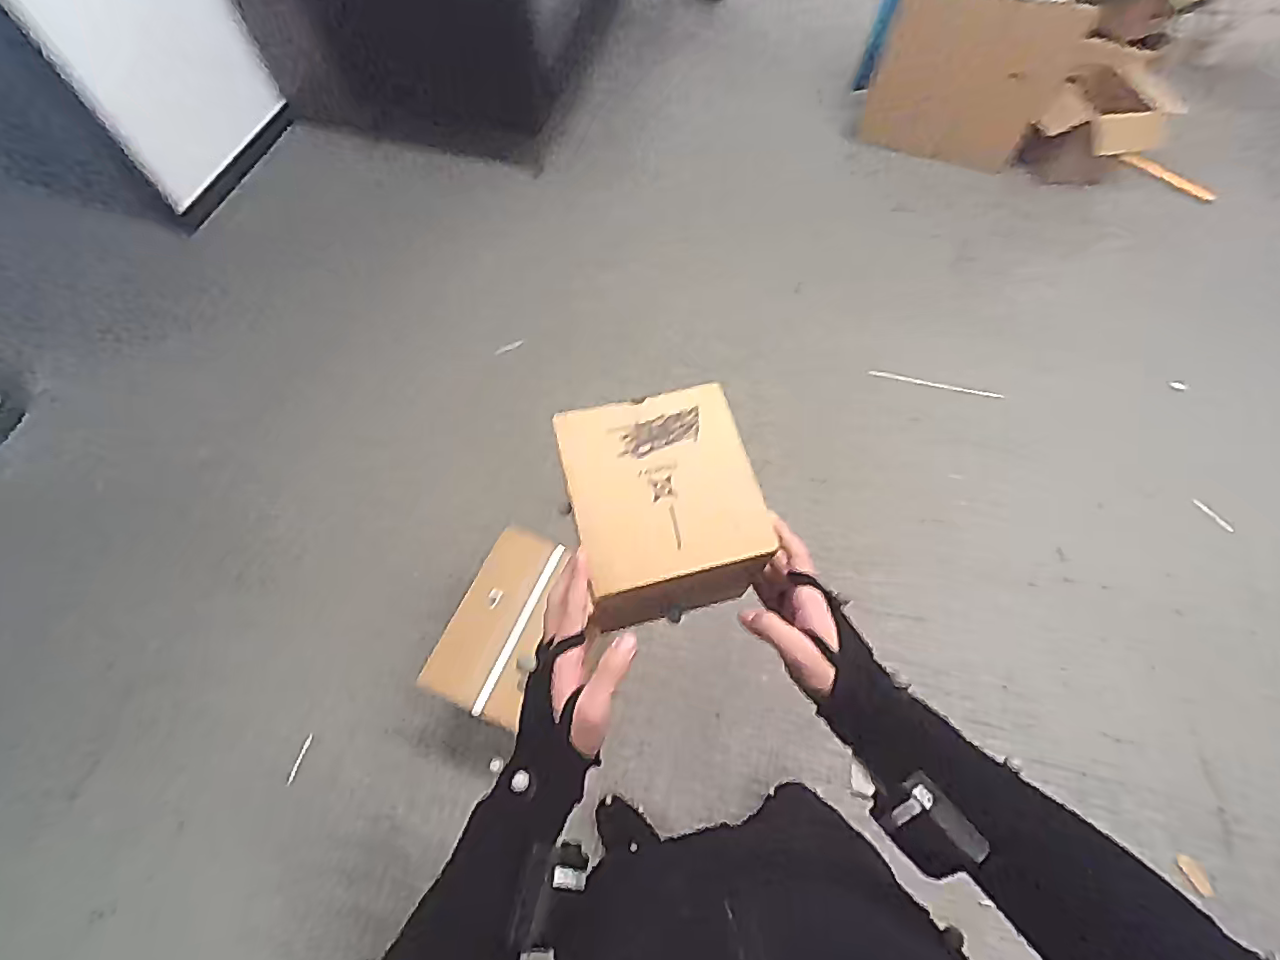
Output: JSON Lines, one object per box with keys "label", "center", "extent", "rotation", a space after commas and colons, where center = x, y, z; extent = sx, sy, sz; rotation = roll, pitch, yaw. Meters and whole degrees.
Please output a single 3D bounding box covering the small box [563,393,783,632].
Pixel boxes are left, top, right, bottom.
{"label": "small box", "center": [0.020, 0.040, 0.557], "extent": [0.168, 0.176, 0.179], "rotation": [-12, 65, -8]}
